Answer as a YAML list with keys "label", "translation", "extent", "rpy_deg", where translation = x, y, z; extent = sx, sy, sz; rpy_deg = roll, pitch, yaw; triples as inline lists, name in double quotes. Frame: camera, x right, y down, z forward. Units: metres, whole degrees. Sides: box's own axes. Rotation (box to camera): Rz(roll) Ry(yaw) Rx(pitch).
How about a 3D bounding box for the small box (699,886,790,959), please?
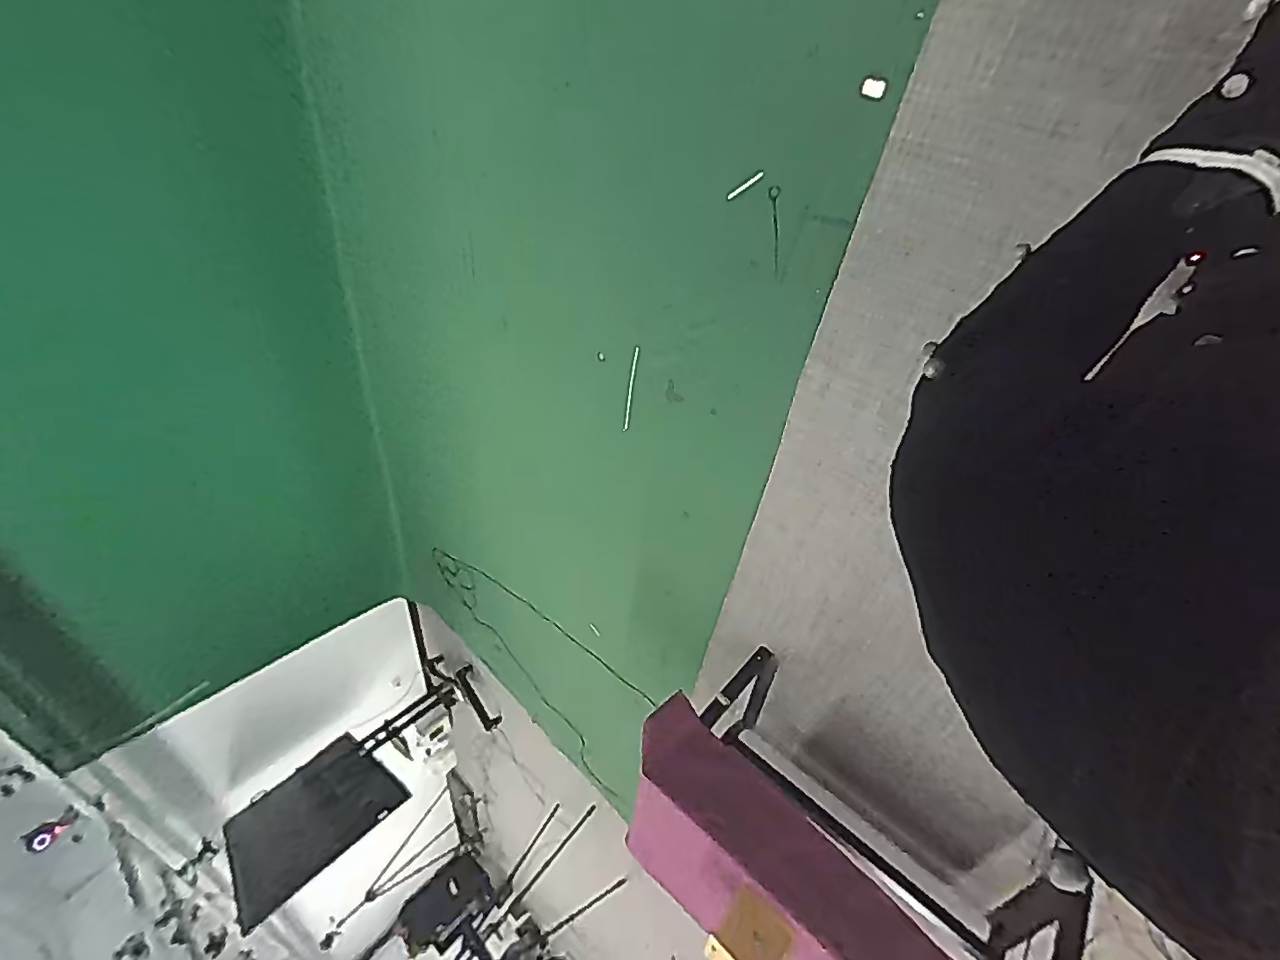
- label: "small box"
  translation: [0.293, 1.298, 1.511]
  extent: [0.179, 0.176, 0.168]
  rpy_deg: [30, 132, 31]
